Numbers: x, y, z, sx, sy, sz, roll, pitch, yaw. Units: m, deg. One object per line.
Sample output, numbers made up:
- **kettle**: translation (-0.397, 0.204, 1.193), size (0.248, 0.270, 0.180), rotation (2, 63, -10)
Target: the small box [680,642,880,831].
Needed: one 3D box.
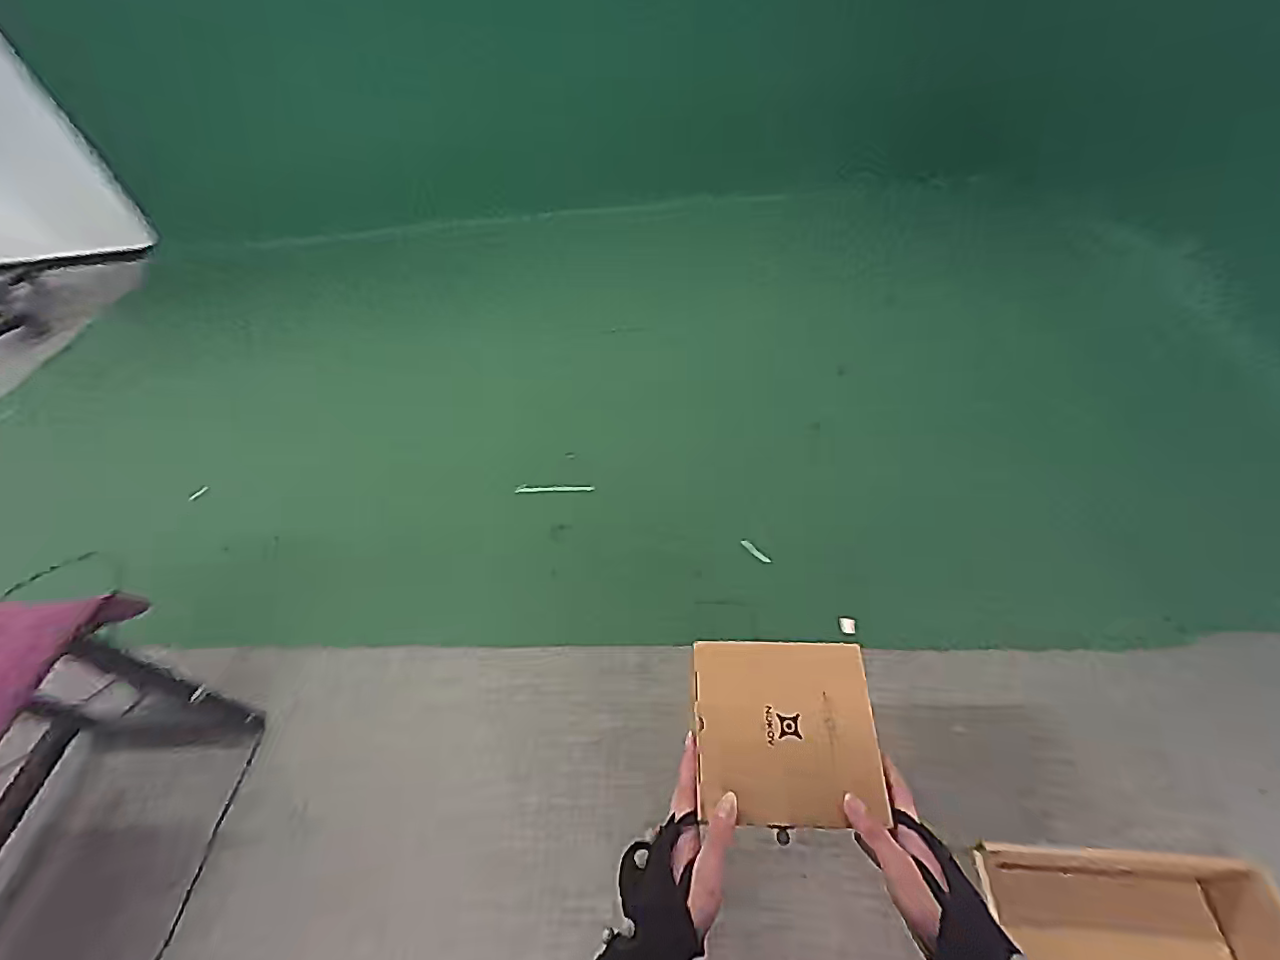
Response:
- **small box**: translation (0.132, 0.284, 0.591), size (0.179, 0.176, 0.168), rotation (0, 57, 2)
